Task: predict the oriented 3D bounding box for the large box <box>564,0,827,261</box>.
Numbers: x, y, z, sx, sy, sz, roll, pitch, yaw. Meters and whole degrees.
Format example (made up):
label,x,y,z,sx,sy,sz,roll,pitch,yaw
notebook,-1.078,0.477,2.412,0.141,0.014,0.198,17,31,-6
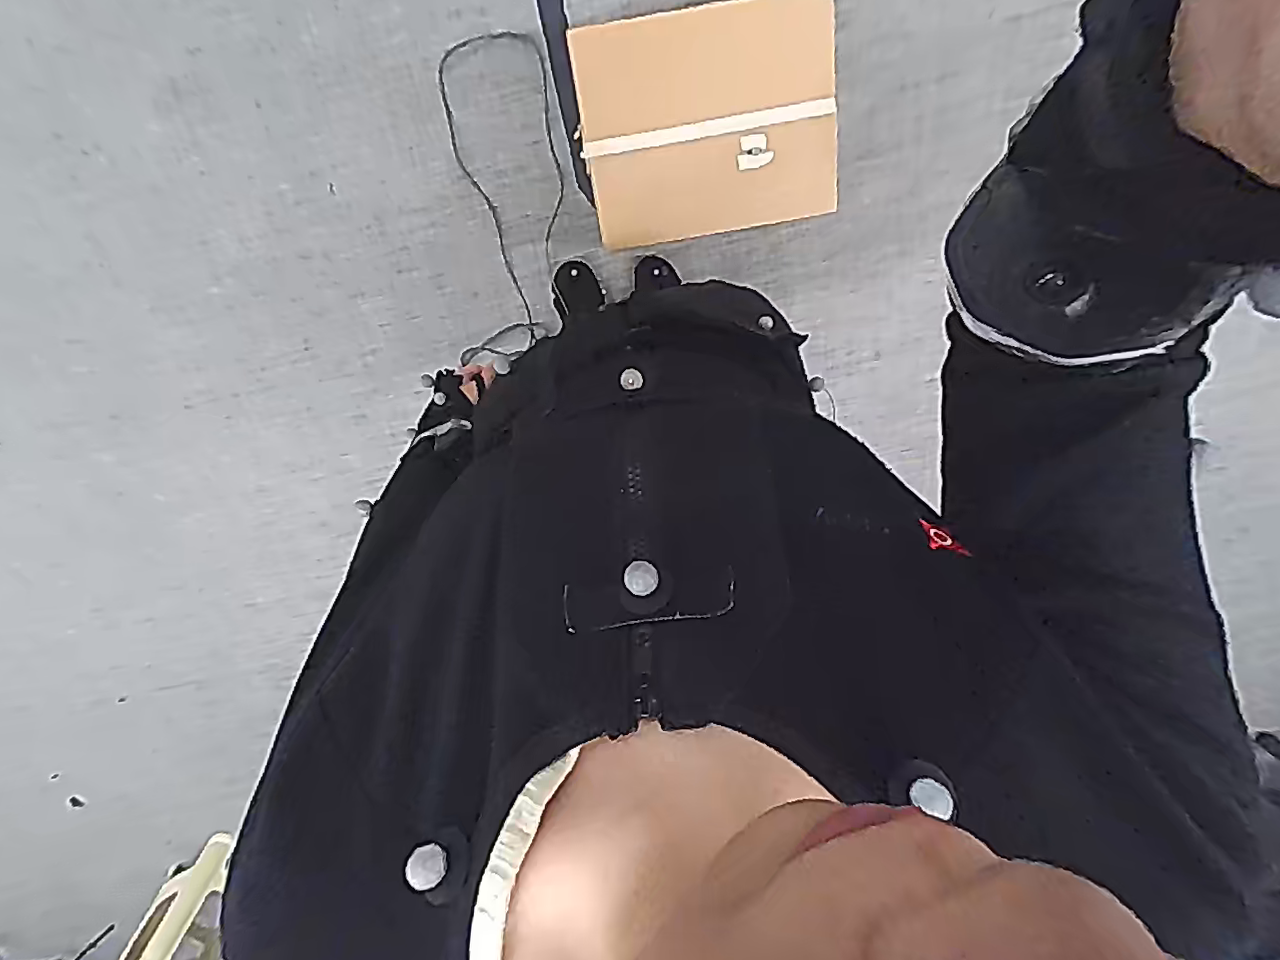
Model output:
label,x,y,z,sx,sy,sz,roll,pitch,yaw
large box,0.092,-0.614,1.014,0.408,0.320,0.320,-10,115,0
